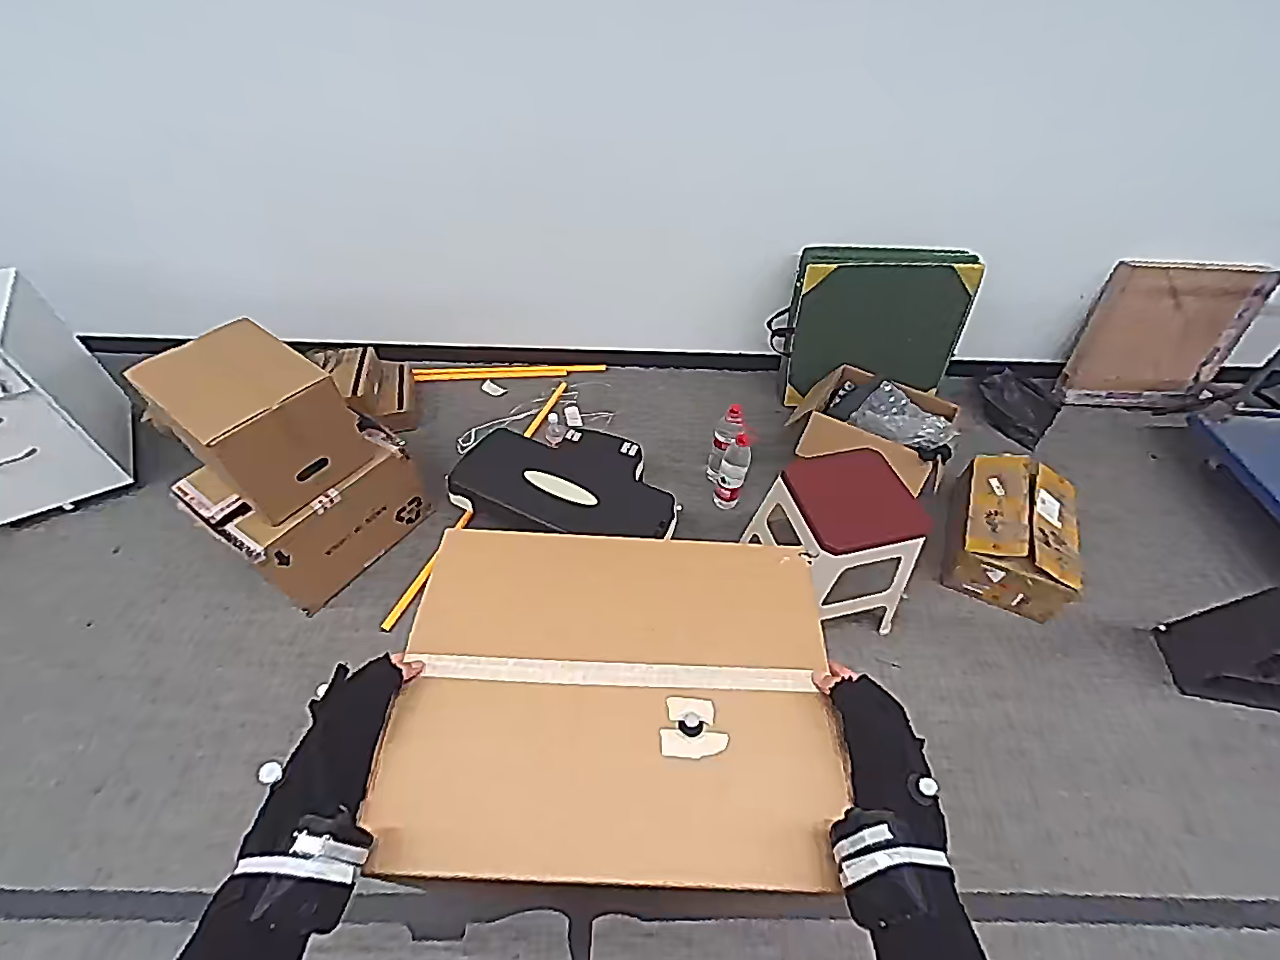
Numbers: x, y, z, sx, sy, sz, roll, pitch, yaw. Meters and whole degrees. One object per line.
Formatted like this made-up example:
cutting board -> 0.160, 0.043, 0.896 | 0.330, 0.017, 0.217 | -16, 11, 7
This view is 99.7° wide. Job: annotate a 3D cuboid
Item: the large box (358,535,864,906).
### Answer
large box -> -0.026, 0.285, 0.626 | 0.408, 0.320, 0.320 | 4, 50, -1
